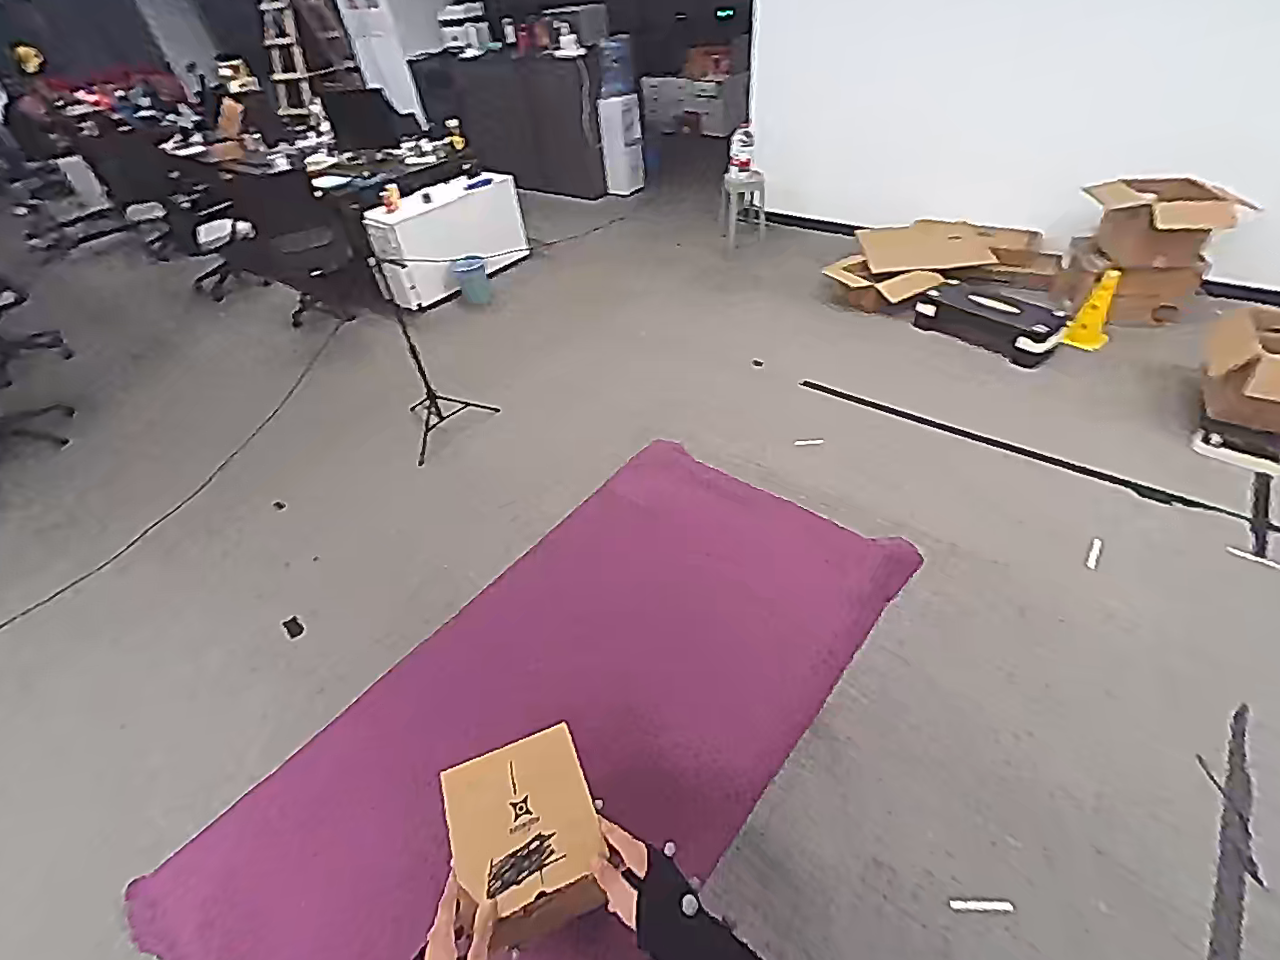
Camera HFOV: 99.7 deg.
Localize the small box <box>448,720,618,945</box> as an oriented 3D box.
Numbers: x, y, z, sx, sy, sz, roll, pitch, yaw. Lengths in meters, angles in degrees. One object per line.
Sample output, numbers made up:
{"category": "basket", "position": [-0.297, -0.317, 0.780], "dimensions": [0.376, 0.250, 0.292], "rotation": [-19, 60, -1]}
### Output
{"category": "small box", "position": [-0.131, 0.448, 0.685], "dimensions": [0.168, 0.176, 0.179], "rotation": [-15, 45, -17]}
